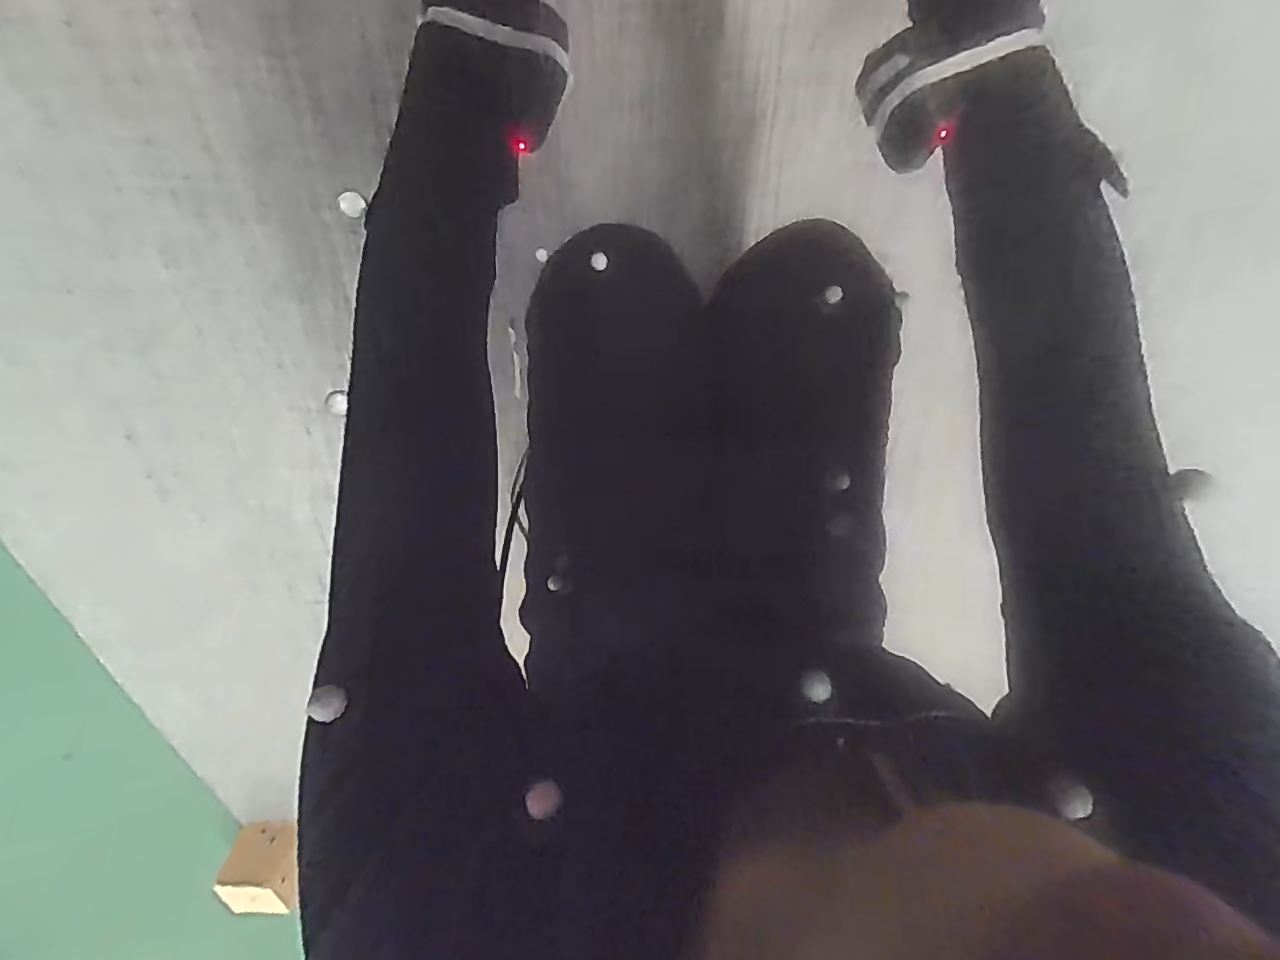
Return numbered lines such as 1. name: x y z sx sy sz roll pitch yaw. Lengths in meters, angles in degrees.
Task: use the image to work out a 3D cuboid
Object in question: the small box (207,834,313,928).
1. small box: -1.084 1.158 1.564 0.168 0.176 0.179 2 122 -1
